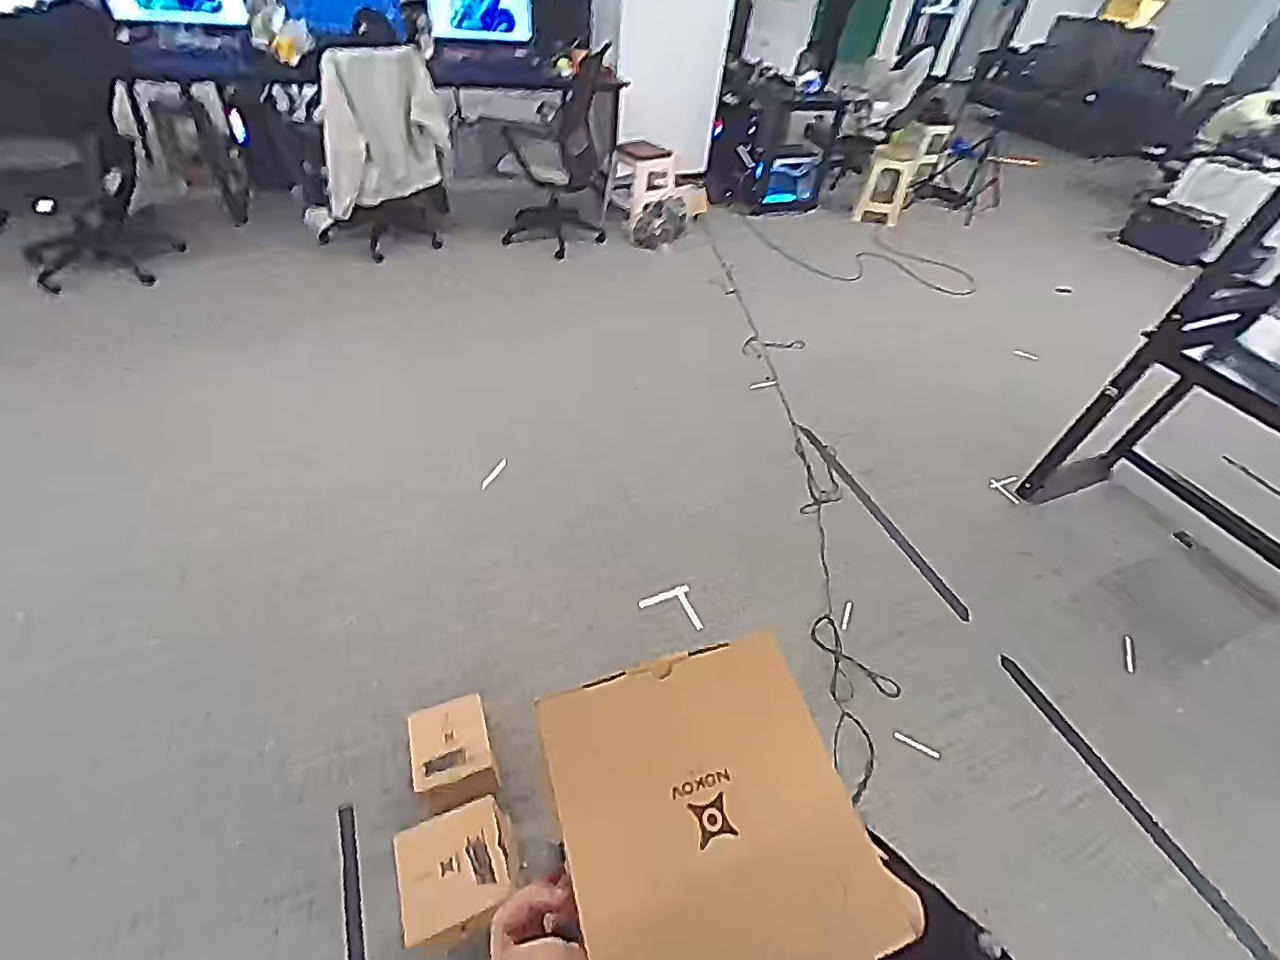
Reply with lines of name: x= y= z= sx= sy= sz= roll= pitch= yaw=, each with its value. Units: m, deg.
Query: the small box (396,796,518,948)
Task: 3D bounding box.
small box: x=-0.327 y=0.715 z=0.989 sx=0.179 sy=0.176 sz=0.168 roll=-15 pitch=50 yaw=-19

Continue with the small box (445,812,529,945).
small box: x=-0.334 y=0.823 z=1.113 sx=0.179 sy=0.176 sz=0.168 roll=-12 pitch=50 yaw=-18

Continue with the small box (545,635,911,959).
small box: x=0.034 y=0.235 z=0.369 sx=0.168 sy=0.176 sz=0.179 roll=-9 pitch=53 yaw=-15
